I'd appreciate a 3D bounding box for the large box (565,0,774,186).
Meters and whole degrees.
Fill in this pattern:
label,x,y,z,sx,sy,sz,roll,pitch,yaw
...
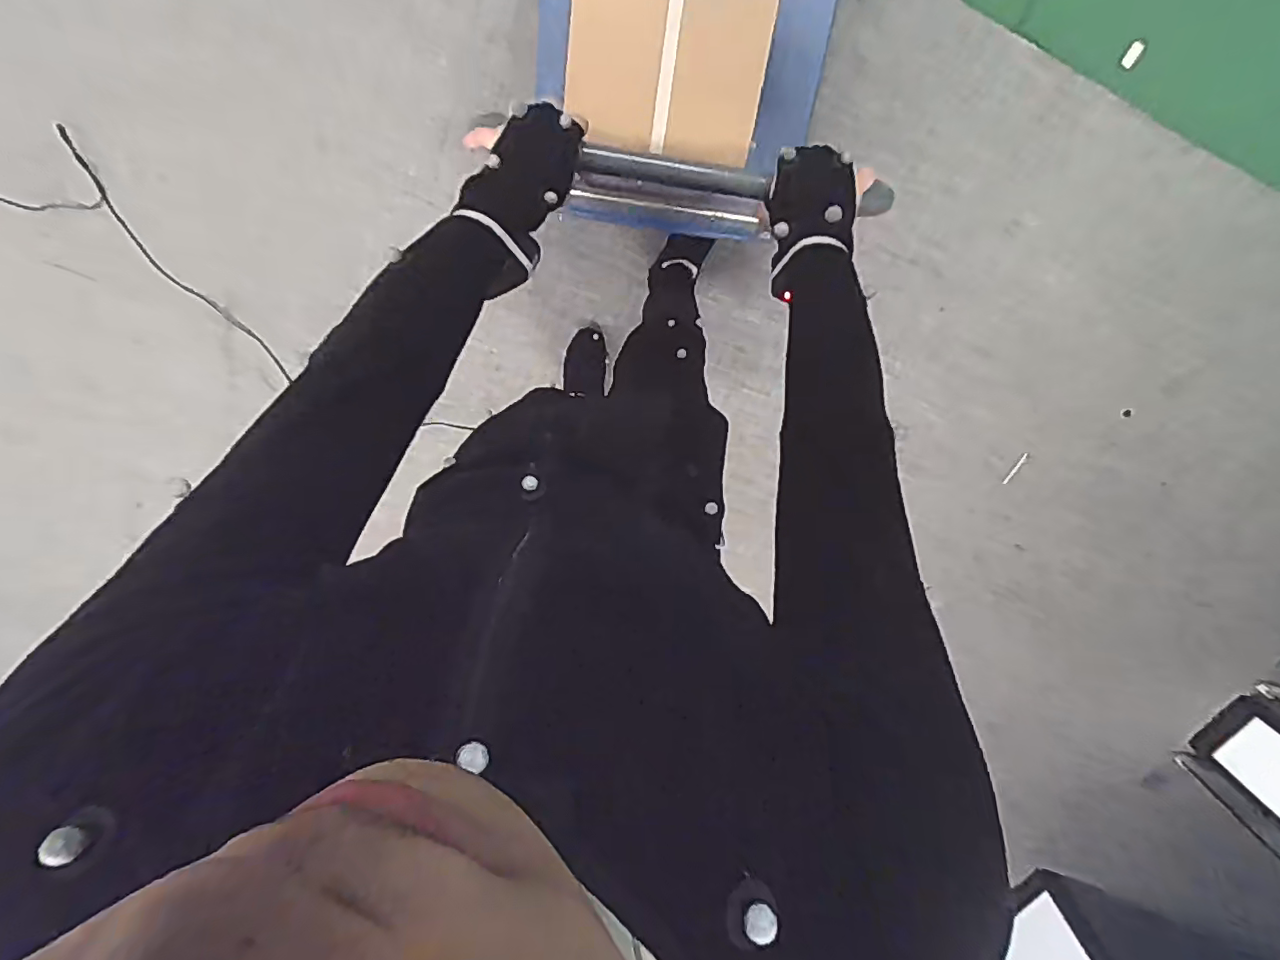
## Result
label,x,y,z,sx,sy,sz,roll,pitch,yaw
large box,0.053,-0.786,0.975,0.320,0.320,0.408,8,114,-3
